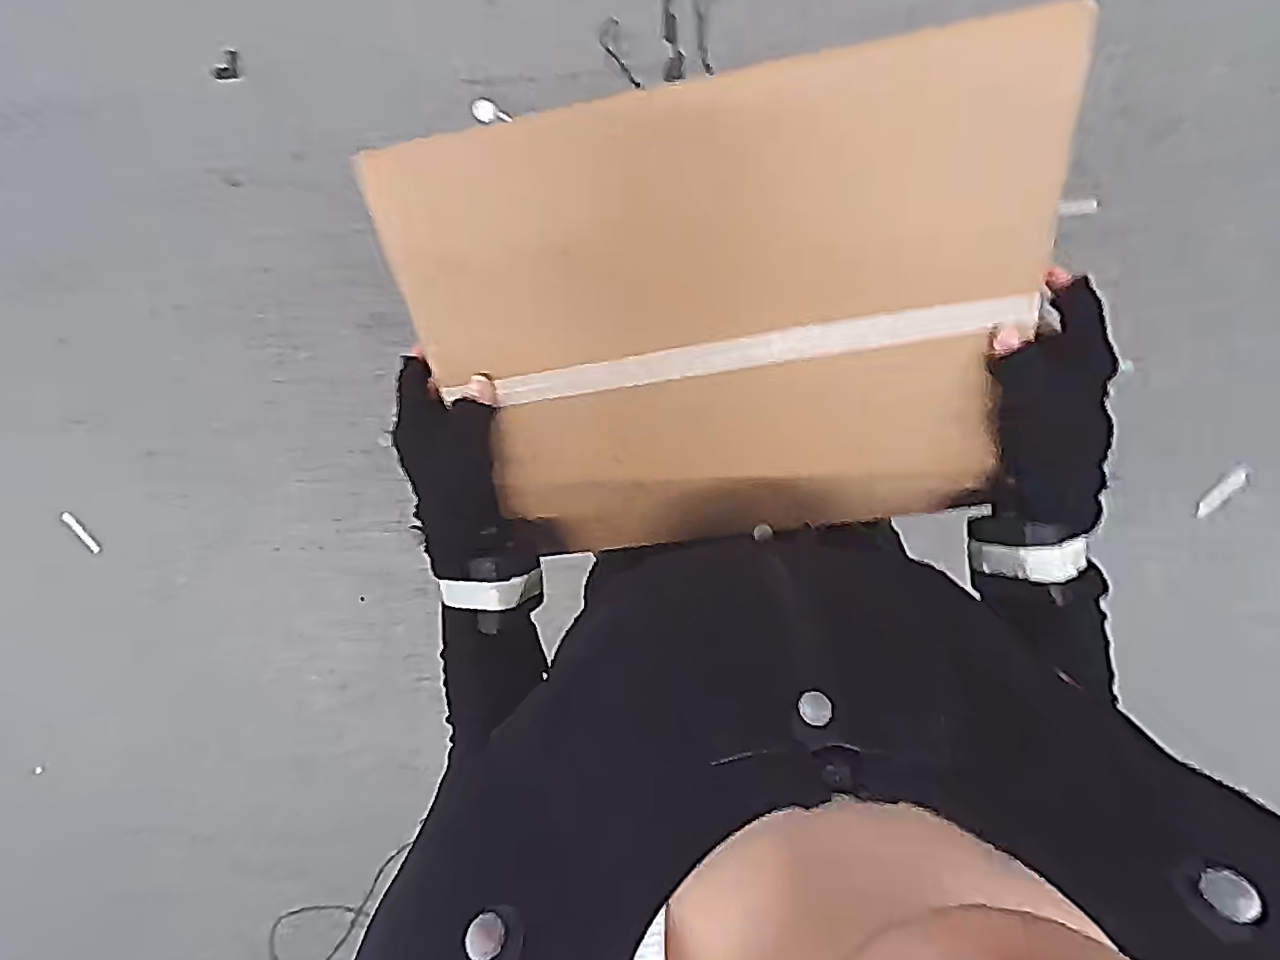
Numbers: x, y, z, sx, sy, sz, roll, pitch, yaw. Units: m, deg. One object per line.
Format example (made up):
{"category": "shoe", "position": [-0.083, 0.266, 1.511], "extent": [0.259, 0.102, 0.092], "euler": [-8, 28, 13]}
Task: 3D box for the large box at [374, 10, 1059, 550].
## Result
{"category": "large box", "position": [0.058, -0.169, 0.511], "extent": [0.408, 0.320, 0.320], "euler": [-7, 122, 7]}
